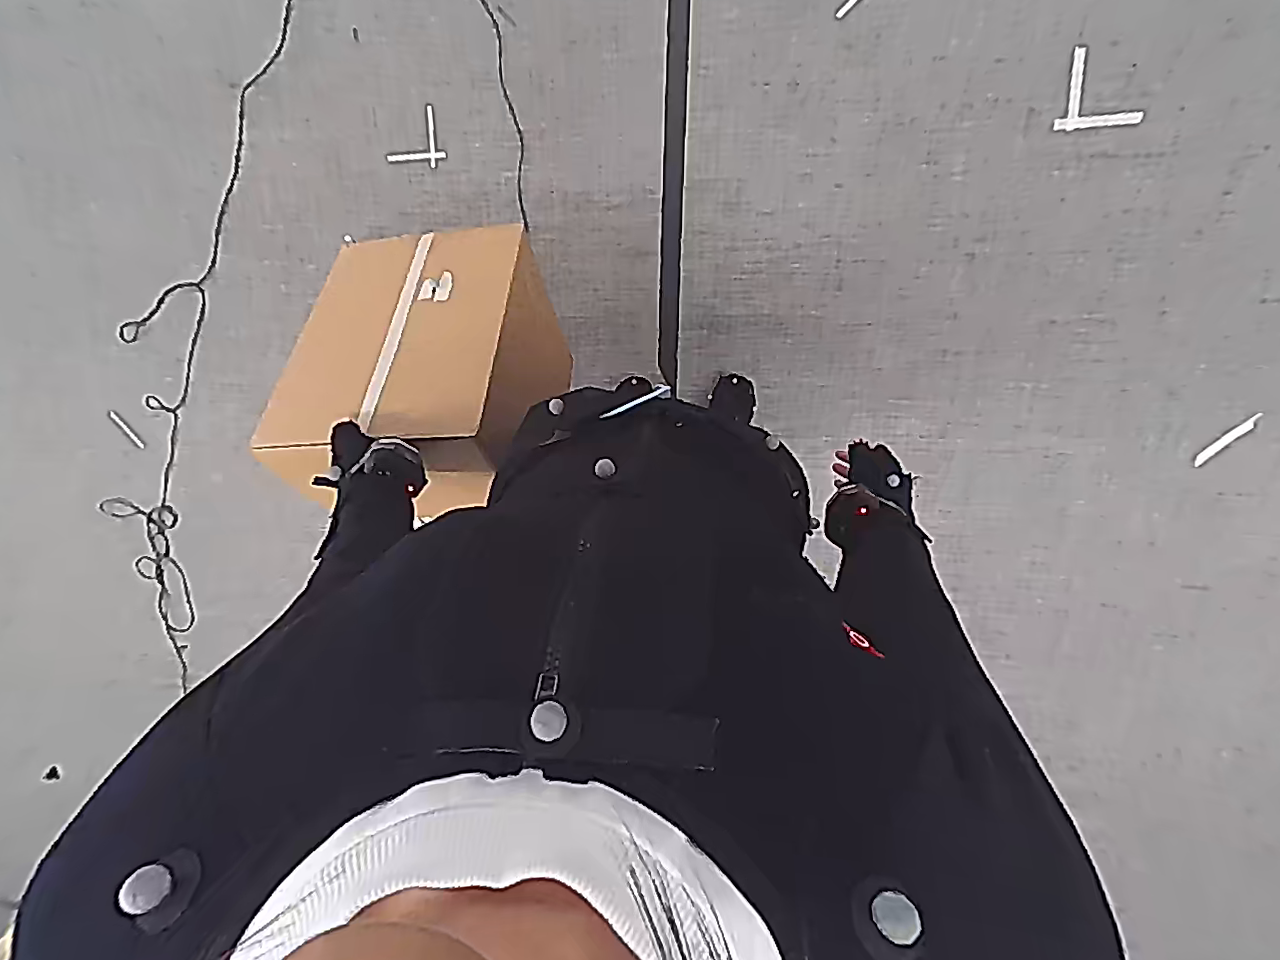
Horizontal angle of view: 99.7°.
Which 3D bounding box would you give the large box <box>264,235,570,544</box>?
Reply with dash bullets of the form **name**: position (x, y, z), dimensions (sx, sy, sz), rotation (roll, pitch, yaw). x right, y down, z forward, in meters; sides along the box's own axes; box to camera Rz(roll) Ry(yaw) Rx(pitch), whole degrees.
- **large box**: position (-0.320, -0.138, 0.914), dimensions (0.320, 0.320, 0.408), rotation (-2, 59, 8)
